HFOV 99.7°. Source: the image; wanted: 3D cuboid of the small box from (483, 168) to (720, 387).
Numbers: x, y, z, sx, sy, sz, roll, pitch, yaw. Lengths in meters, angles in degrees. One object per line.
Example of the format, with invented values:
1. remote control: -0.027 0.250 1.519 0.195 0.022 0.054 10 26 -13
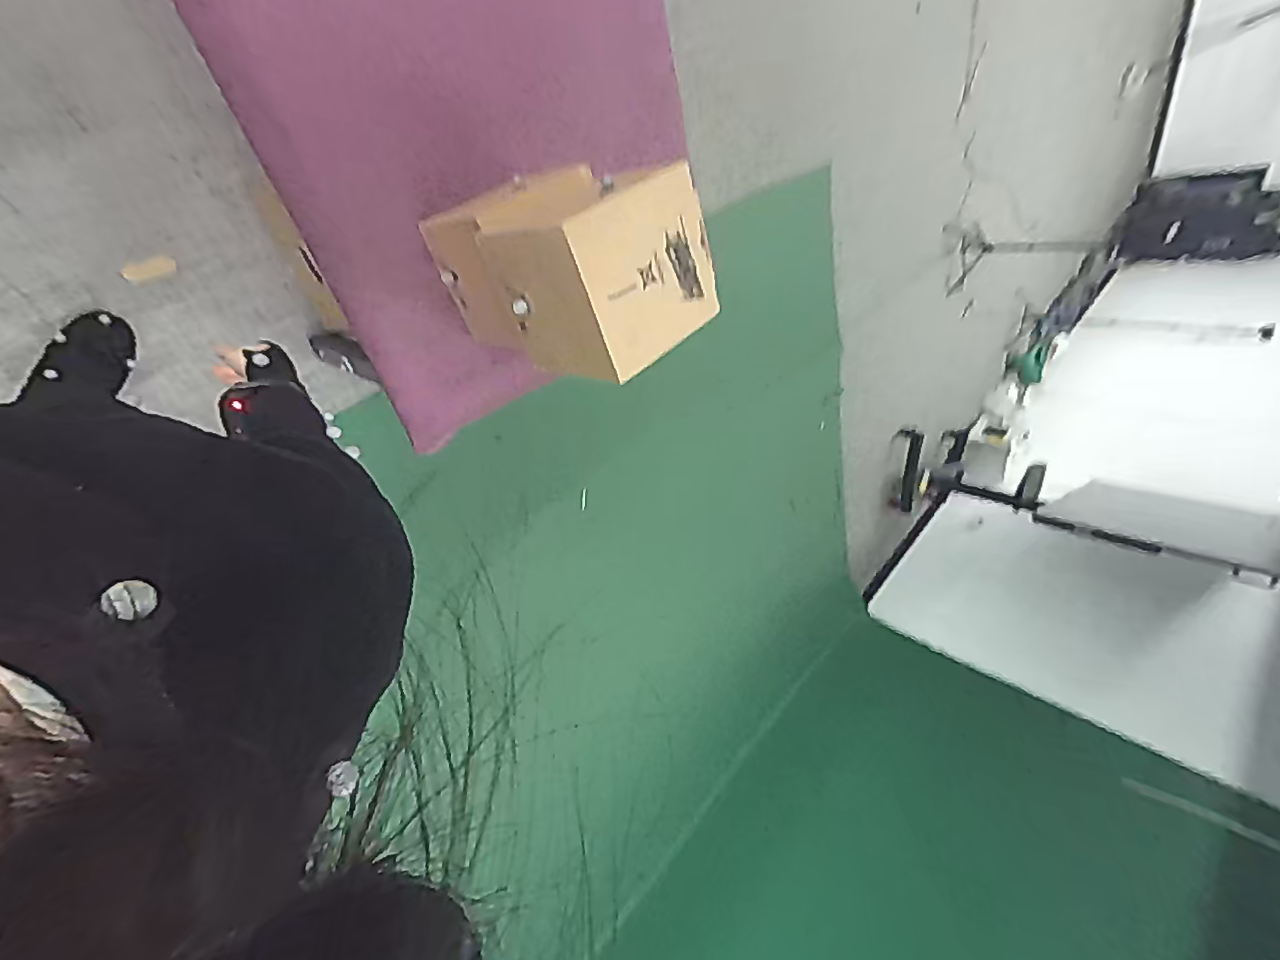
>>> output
1. small box: -0.040 -0.226 0.608 0.179 0.176 0.168 -41 128 -27

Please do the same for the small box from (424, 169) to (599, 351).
1. small box: -0.148 -0.289 0.717 0.179 0.176 0.168 -41 129 -27
